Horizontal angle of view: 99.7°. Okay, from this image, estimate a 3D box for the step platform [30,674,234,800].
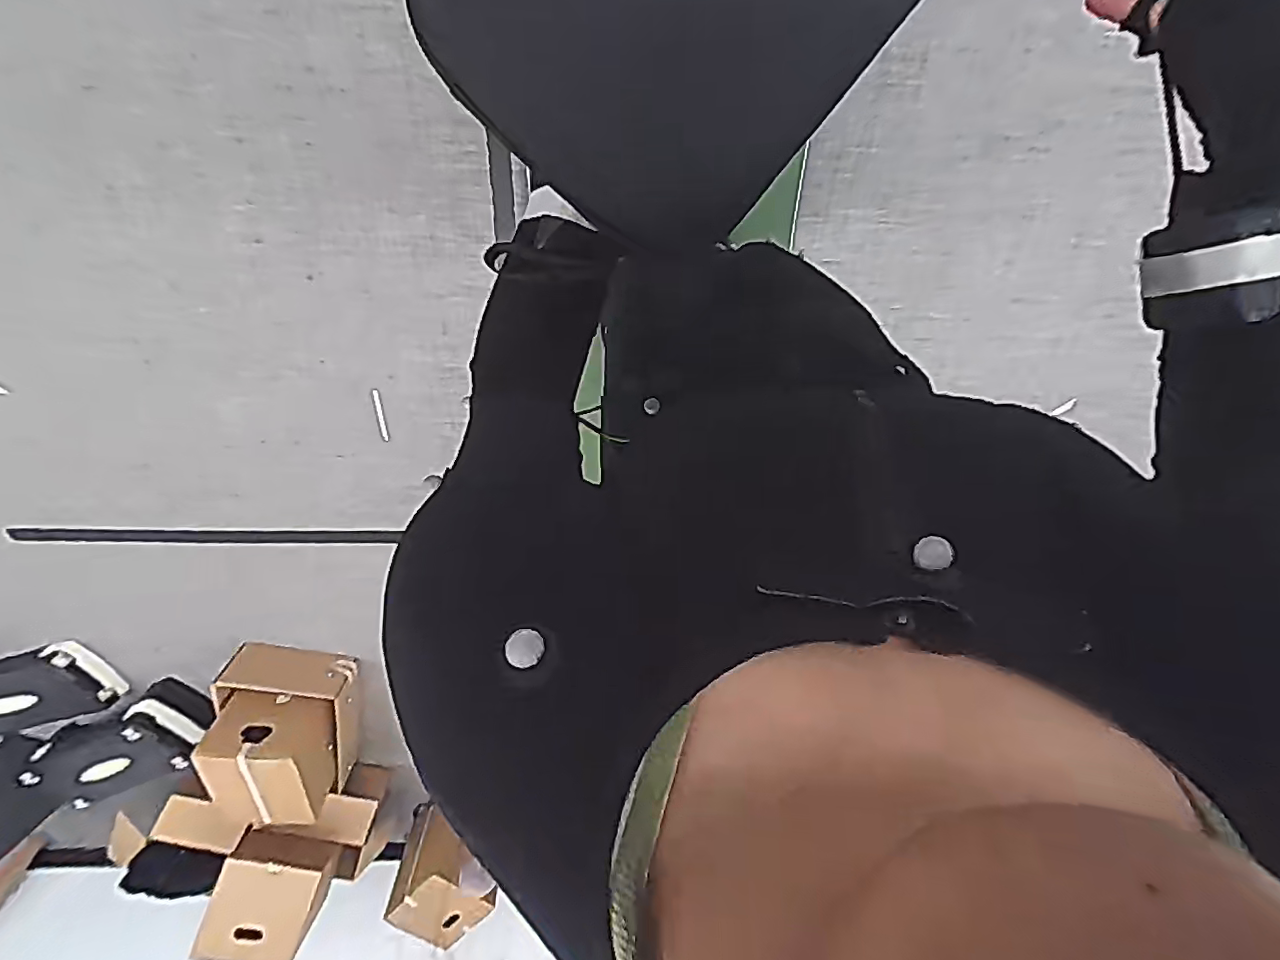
[{"bbox_3d":[-1.950,0.995,2.079,0.684,0.204,0.286,-25,119,12],"label":"step platform"}]
